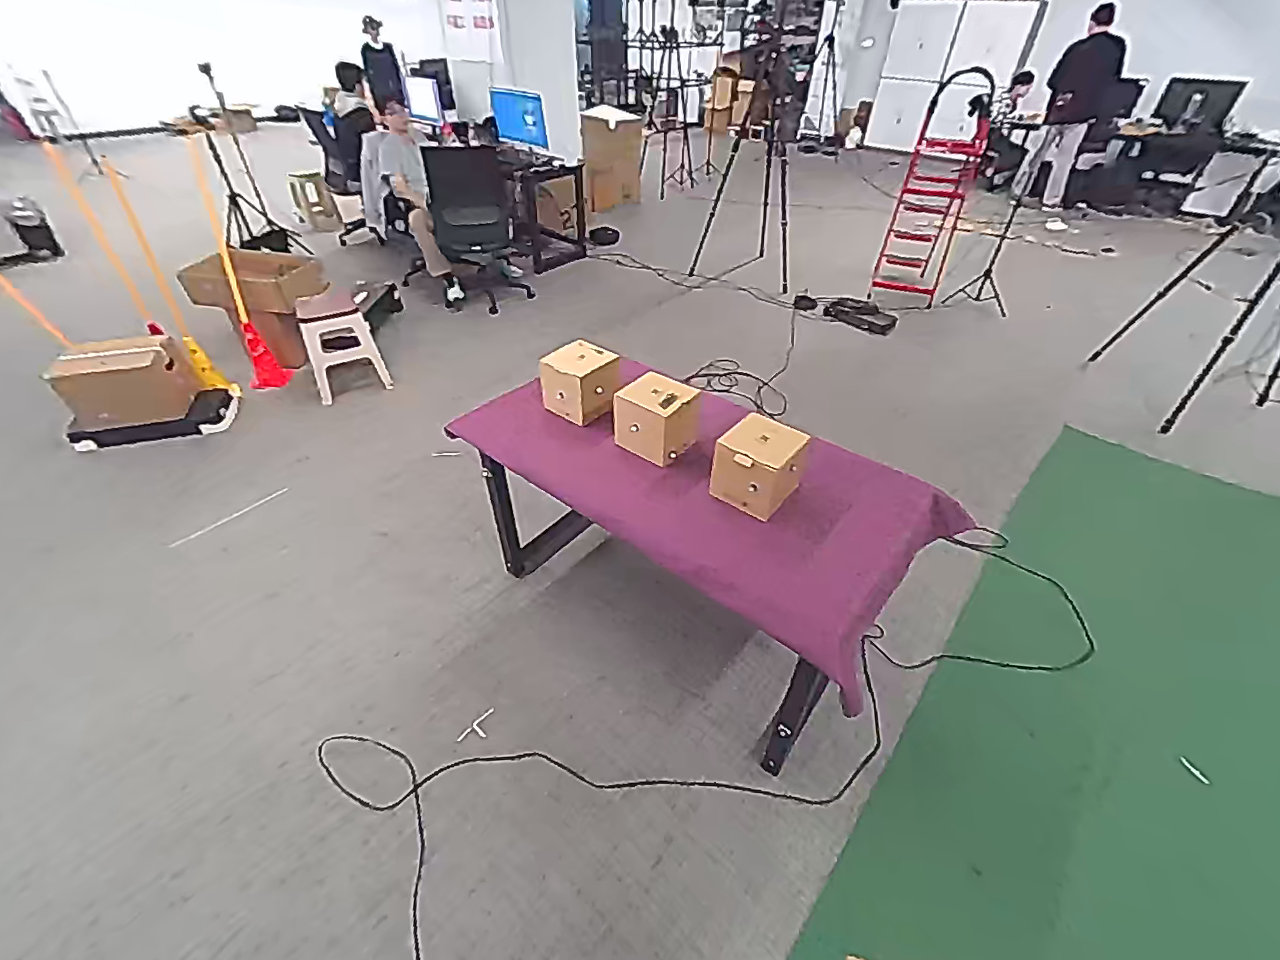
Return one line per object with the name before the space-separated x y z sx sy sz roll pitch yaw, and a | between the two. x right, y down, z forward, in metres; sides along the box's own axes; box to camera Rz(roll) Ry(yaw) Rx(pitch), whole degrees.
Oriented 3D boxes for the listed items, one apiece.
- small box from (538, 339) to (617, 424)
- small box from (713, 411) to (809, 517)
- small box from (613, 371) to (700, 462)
small box | -0.179 -0.296 1.631 0.168 0.176 0.179 28 49 27
small box | 0.294 -0.038 1.342 0.168 0.176 0.179 29 48 28
small box | 0.045 -0.172 1.492 0.179 0.176 0.168 27 47 29
